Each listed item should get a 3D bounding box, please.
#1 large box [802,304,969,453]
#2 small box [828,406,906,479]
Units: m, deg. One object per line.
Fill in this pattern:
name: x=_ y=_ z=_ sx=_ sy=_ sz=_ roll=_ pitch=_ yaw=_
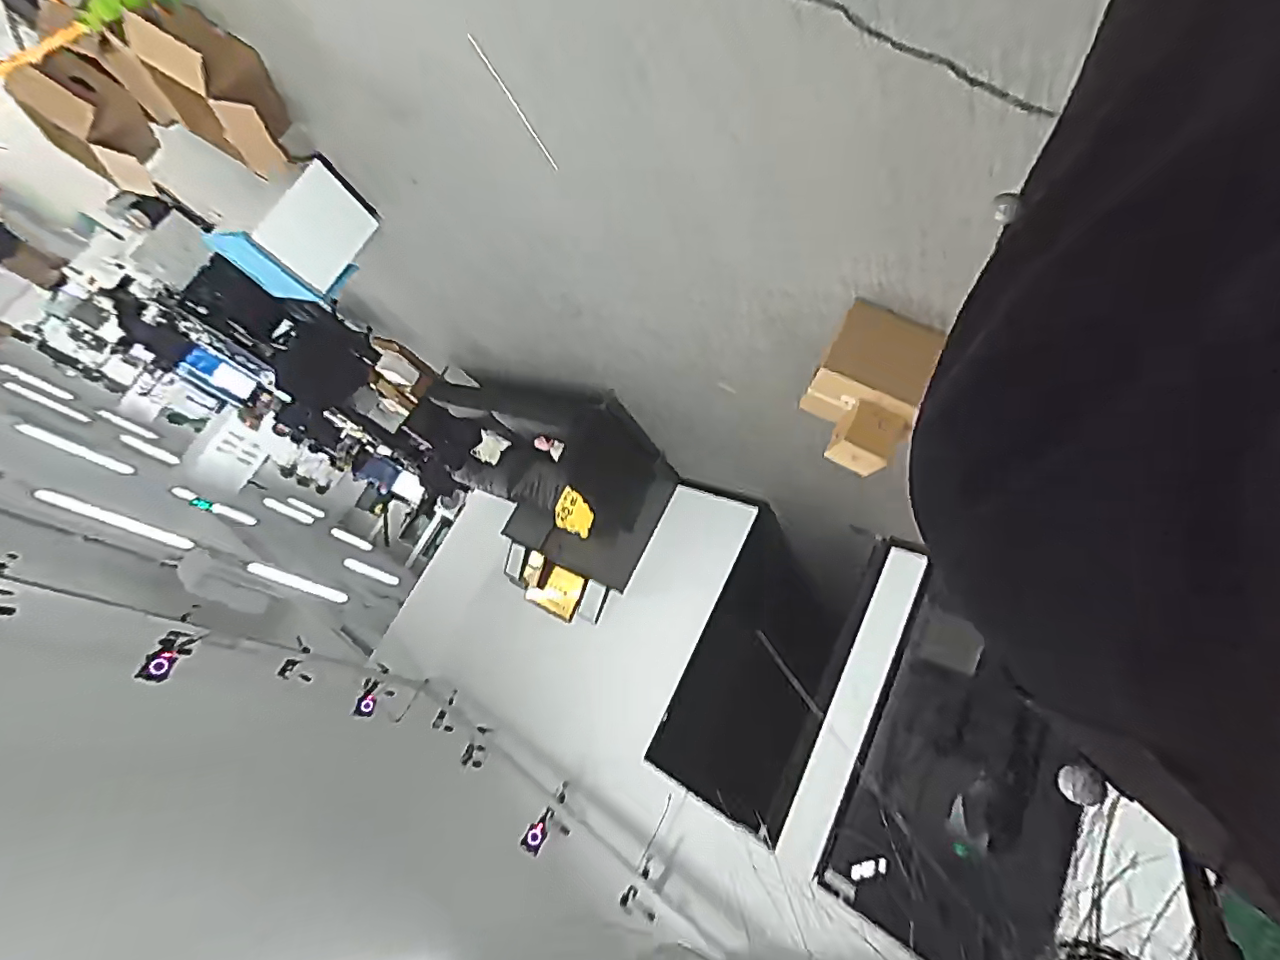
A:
large box: x=0.865 y=-0.357 z=1.940 sx=0.408 sy=0.320 sz=0.320 roll=28 pitch=165 yaw=10
small box: x=0.790 y=-0.129 z=1.880 sx=0.168 sy=0.176 sz=0.179 roll=28 pitch=166 yaw=5
